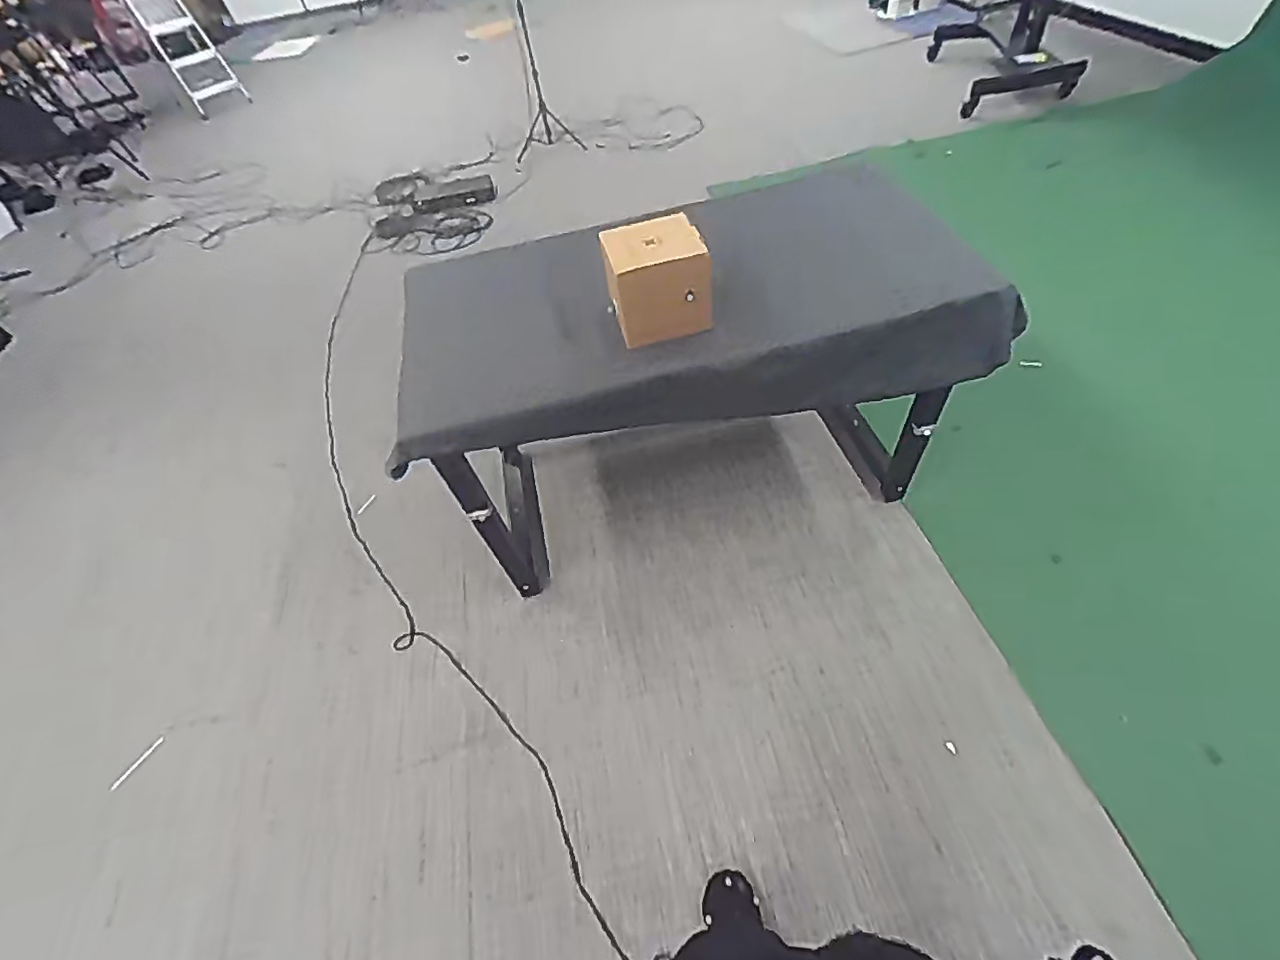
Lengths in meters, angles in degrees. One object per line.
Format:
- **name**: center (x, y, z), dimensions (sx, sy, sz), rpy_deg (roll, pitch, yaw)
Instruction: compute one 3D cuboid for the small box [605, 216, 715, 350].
- **small box**: center (0.041, -0.385, 1.068), dimensions (0.179, 0.176, 0.168), rpy_deg (-16, 50, -2)
